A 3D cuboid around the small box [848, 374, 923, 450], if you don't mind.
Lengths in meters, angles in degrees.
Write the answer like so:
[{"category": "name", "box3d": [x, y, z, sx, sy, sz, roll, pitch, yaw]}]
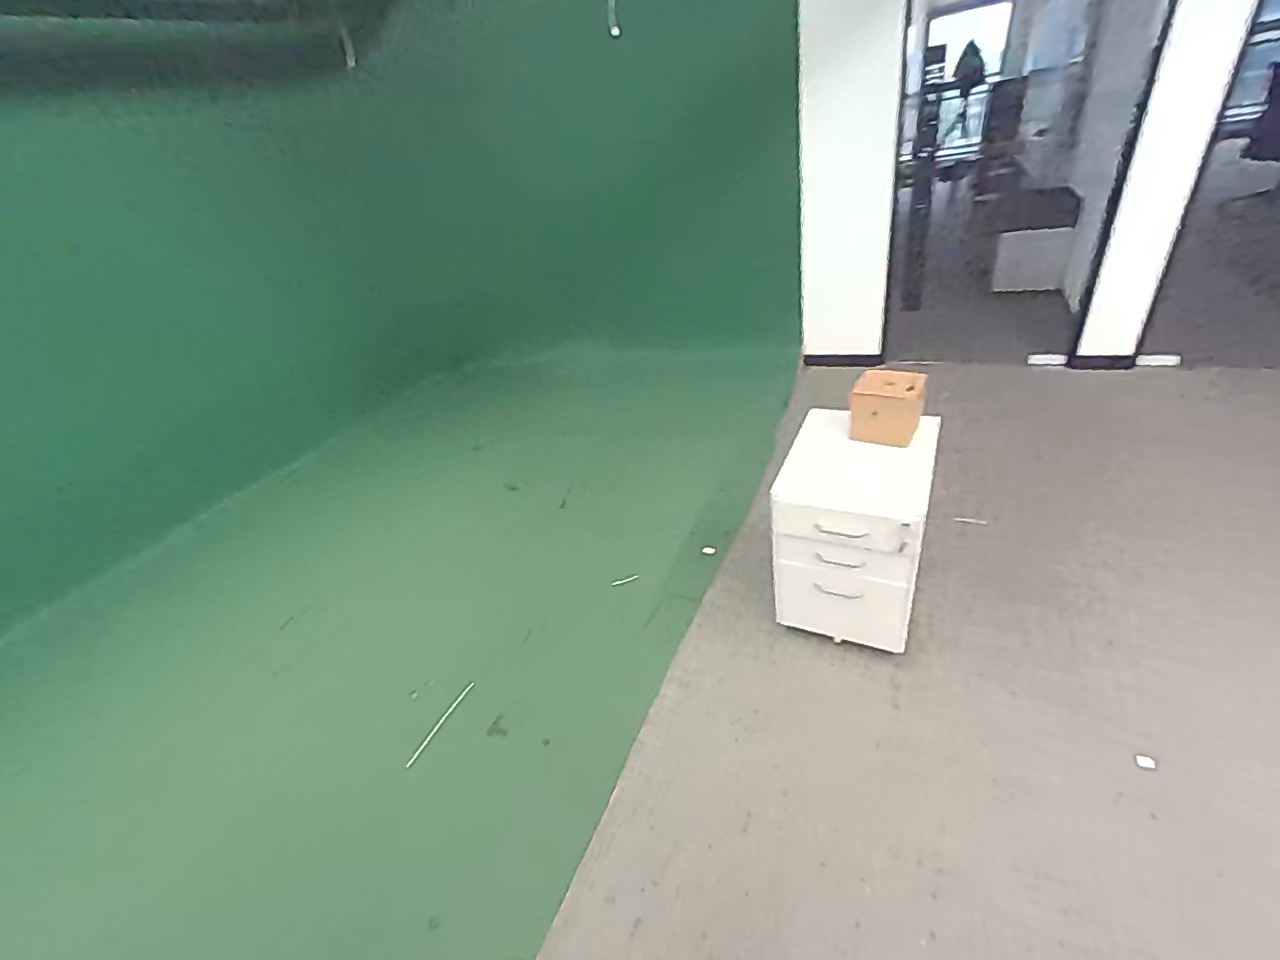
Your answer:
[{"category": "small box", "box3d": [0.746, -0.208, 1.652, 0.179, 0.176, 0.168, 13, 41, 34]}]
